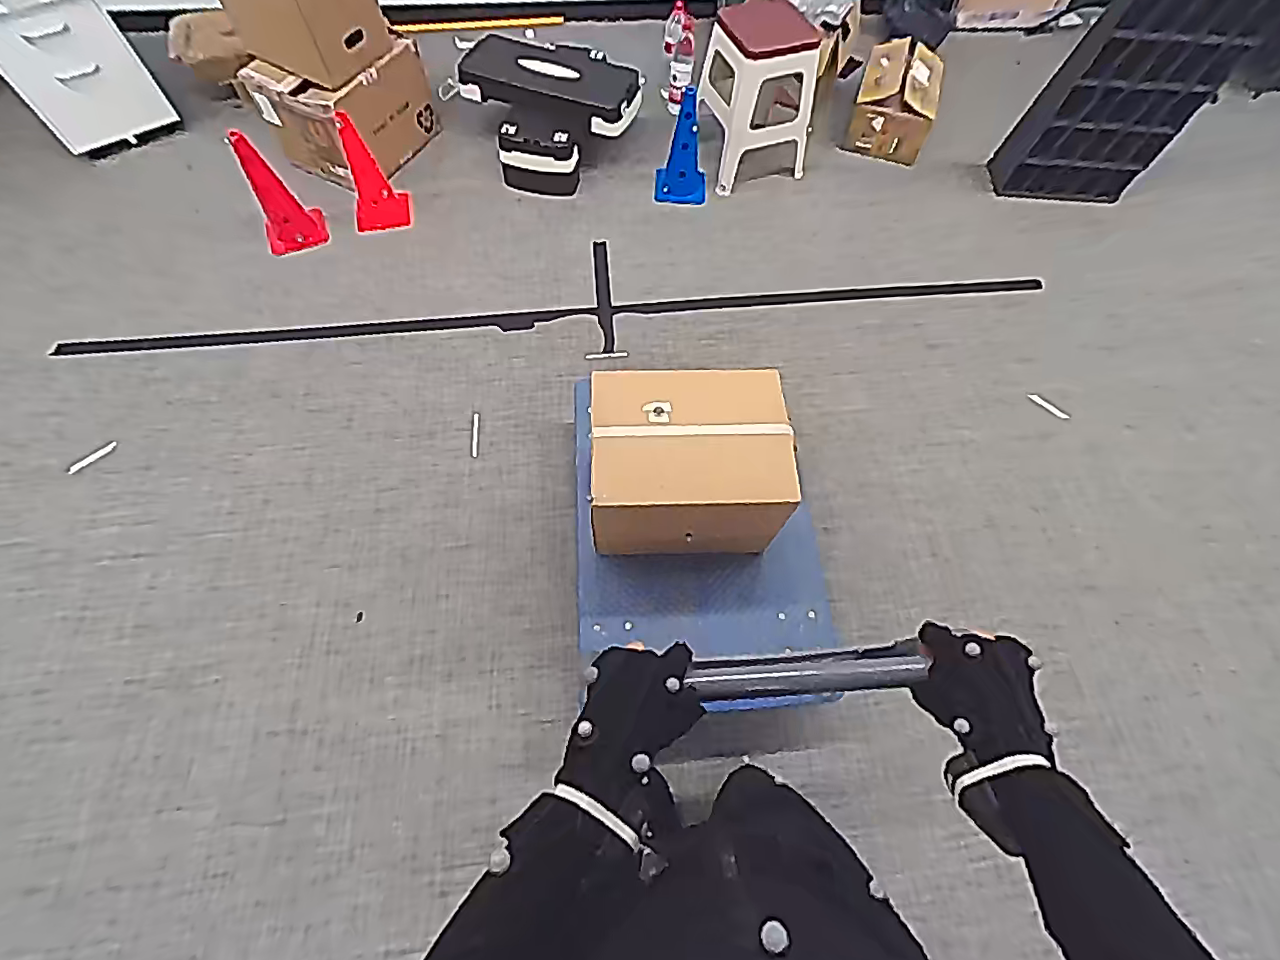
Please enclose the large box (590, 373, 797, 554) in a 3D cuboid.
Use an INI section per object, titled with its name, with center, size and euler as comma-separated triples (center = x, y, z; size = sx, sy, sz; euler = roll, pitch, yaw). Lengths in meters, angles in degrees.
[large box]
center = 0.097, -0.024, 1.229
size = 0.408, 0.320, 0.320
euler = -1, 65, -2
